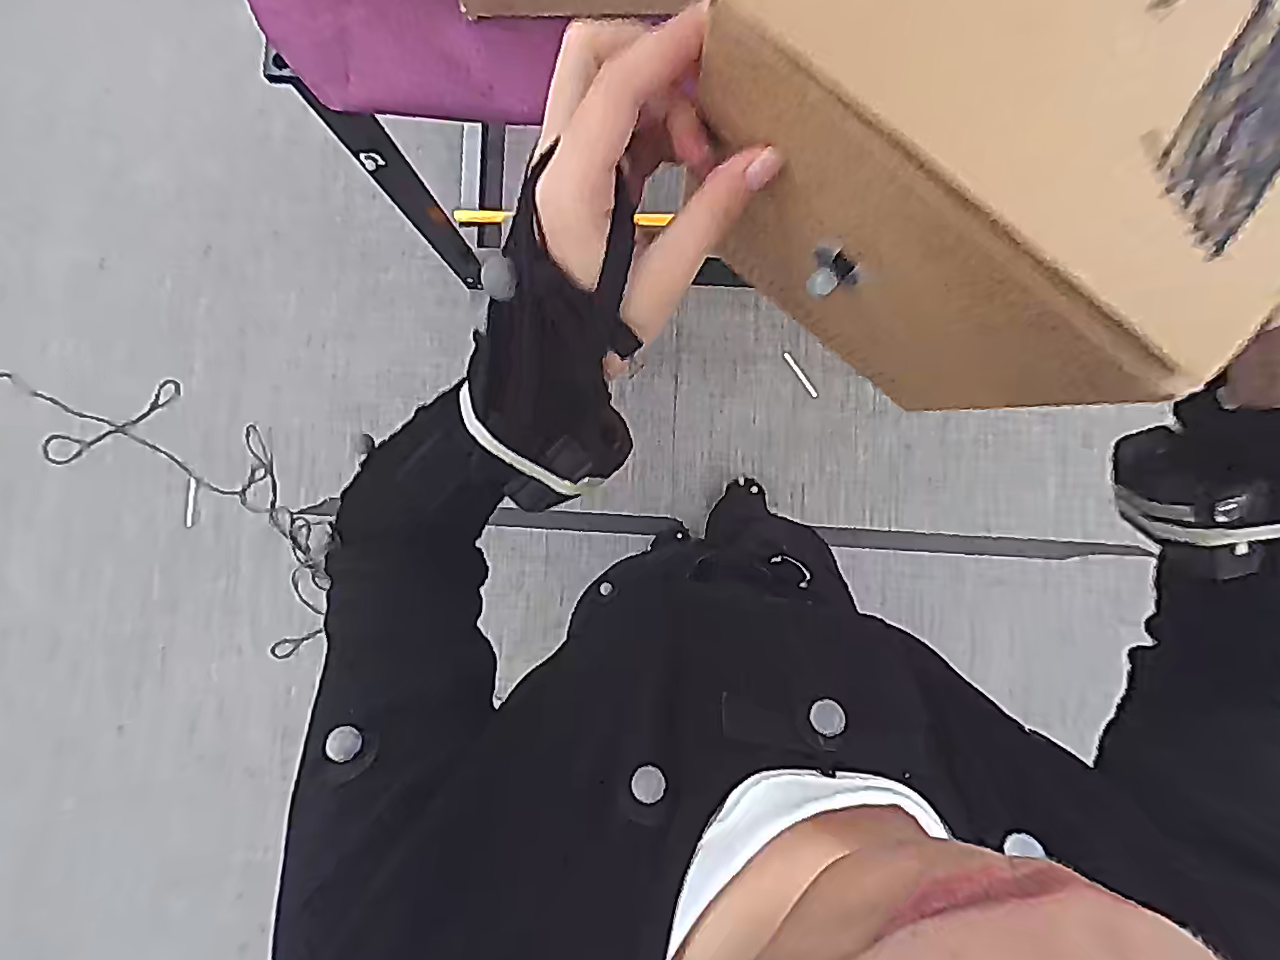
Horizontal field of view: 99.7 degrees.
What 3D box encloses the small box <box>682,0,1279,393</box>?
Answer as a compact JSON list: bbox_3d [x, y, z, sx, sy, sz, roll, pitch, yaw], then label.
[{"bbox_3d":[0.133,-0.149,0.209,0.179,0.176,0.168,38,95,-2],"label":"small box"}]
